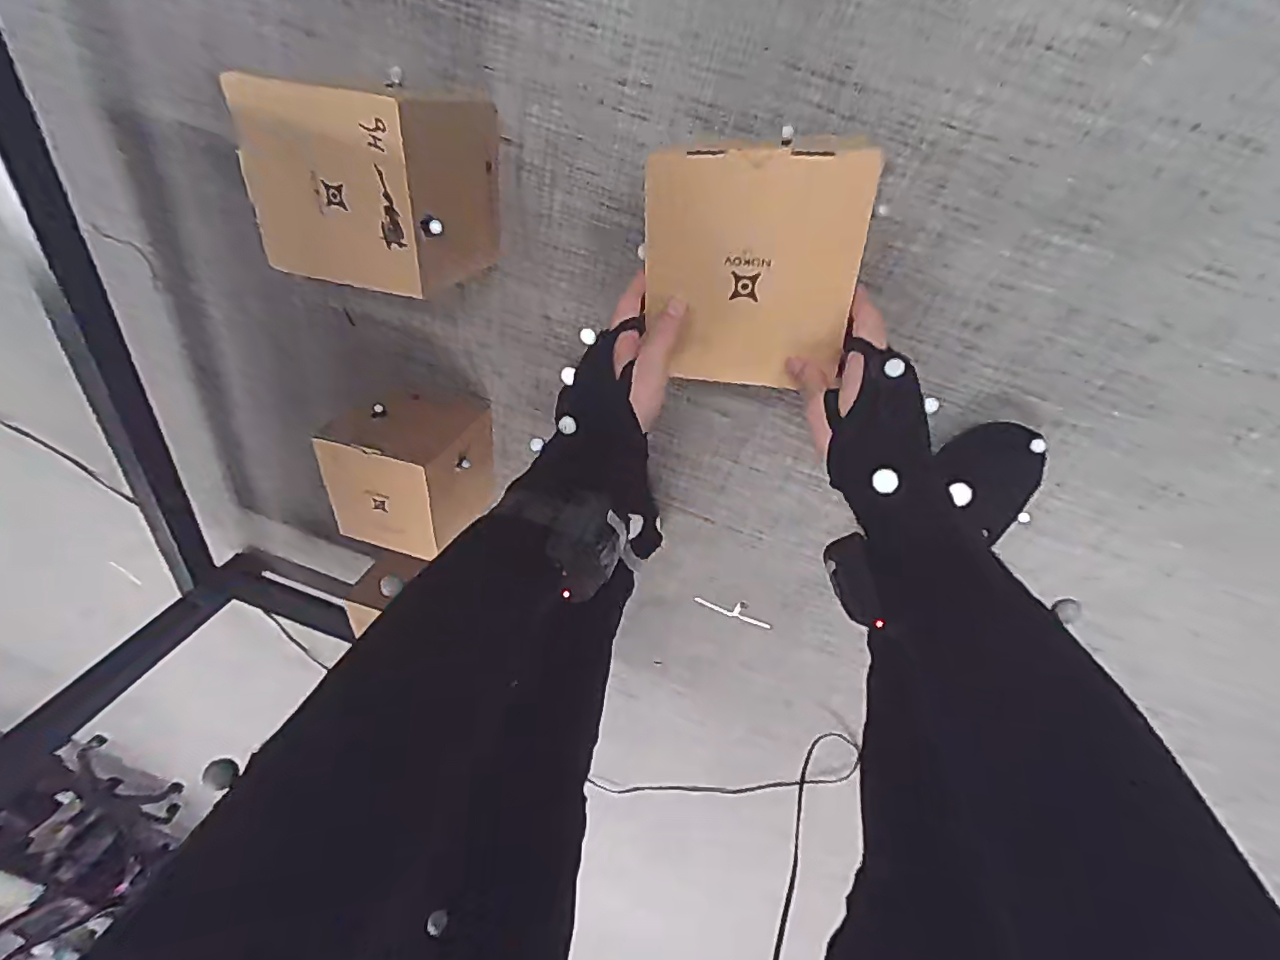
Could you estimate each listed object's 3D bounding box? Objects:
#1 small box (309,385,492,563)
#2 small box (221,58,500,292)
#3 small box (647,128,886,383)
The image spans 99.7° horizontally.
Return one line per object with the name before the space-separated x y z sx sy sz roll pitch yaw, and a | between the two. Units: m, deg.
small box | -0.326 -0.016 0.776 0.168 0.176 0.179 15 127 9
small box | -0.262 -0.310 0.554 0.179 0.176 0.168 15 126 8
small box | 0.106 -0.207 0.482 0.168 0.176 0.179 8 125 12
